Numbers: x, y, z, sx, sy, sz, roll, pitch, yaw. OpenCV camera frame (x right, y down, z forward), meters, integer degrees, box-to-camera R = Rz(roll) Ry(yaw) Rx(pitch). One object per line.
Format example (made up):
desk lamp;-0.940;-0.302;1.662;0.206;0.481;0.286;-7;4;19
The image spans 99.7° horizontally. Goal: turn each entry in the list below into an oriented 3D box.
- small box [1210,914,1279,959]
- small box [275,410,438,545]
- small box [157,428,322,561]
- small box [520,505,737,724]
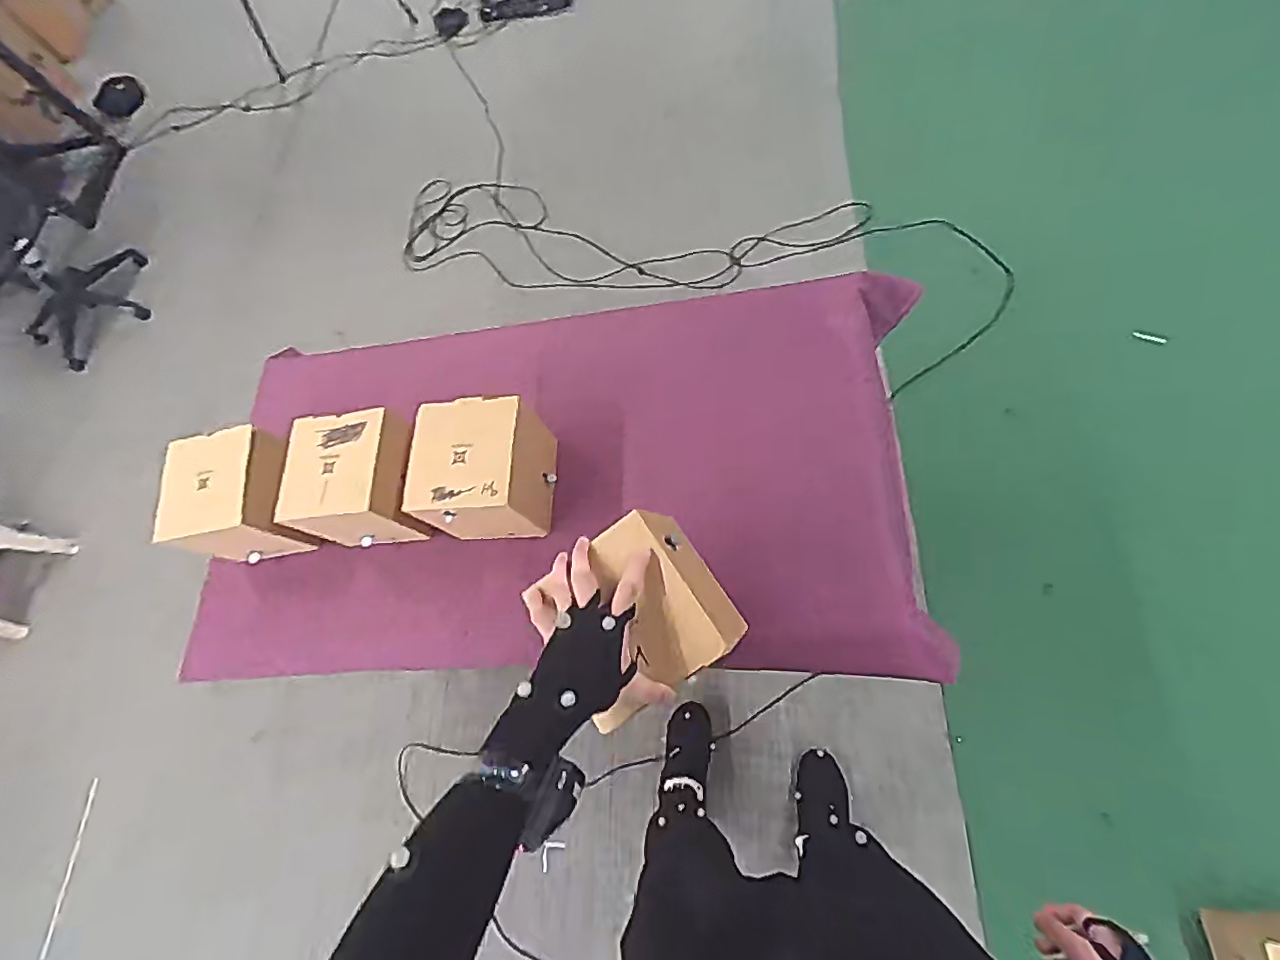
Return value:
small box;1.189;0.906;0.964;0.179;0.176;0.168;-5;69;11
small box;-0.463;0.003;0.912;0.168;0.176;0.179;-6;70;12
small box;-0.685;0.033;0.955;0.168;0.176;0.179;-10;68;10
small box;-0.005;0.150;0.644;0.168;0.176;0.179;-35;75;11
